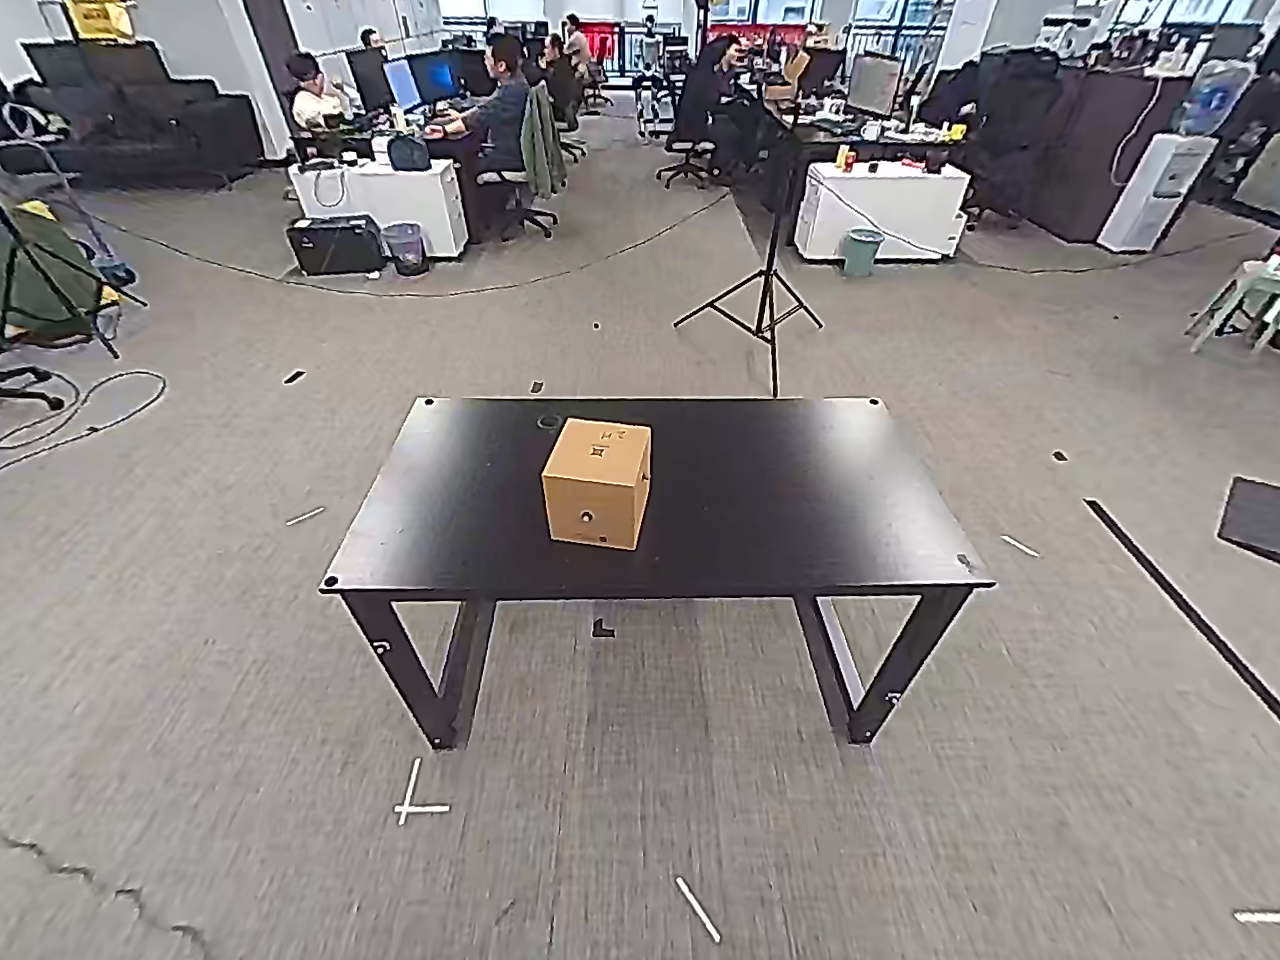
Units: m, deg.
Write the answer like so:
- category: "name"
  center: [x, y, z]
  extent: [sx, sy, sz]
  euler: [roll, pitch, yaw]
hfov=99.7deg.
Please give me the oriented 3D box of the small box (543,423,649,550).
- category: "small box"
  center: [-0.076, 0.013, 1.046]
  extent: [0.168, 0.176, 0.179]
  euler: [7, 41, 7]
